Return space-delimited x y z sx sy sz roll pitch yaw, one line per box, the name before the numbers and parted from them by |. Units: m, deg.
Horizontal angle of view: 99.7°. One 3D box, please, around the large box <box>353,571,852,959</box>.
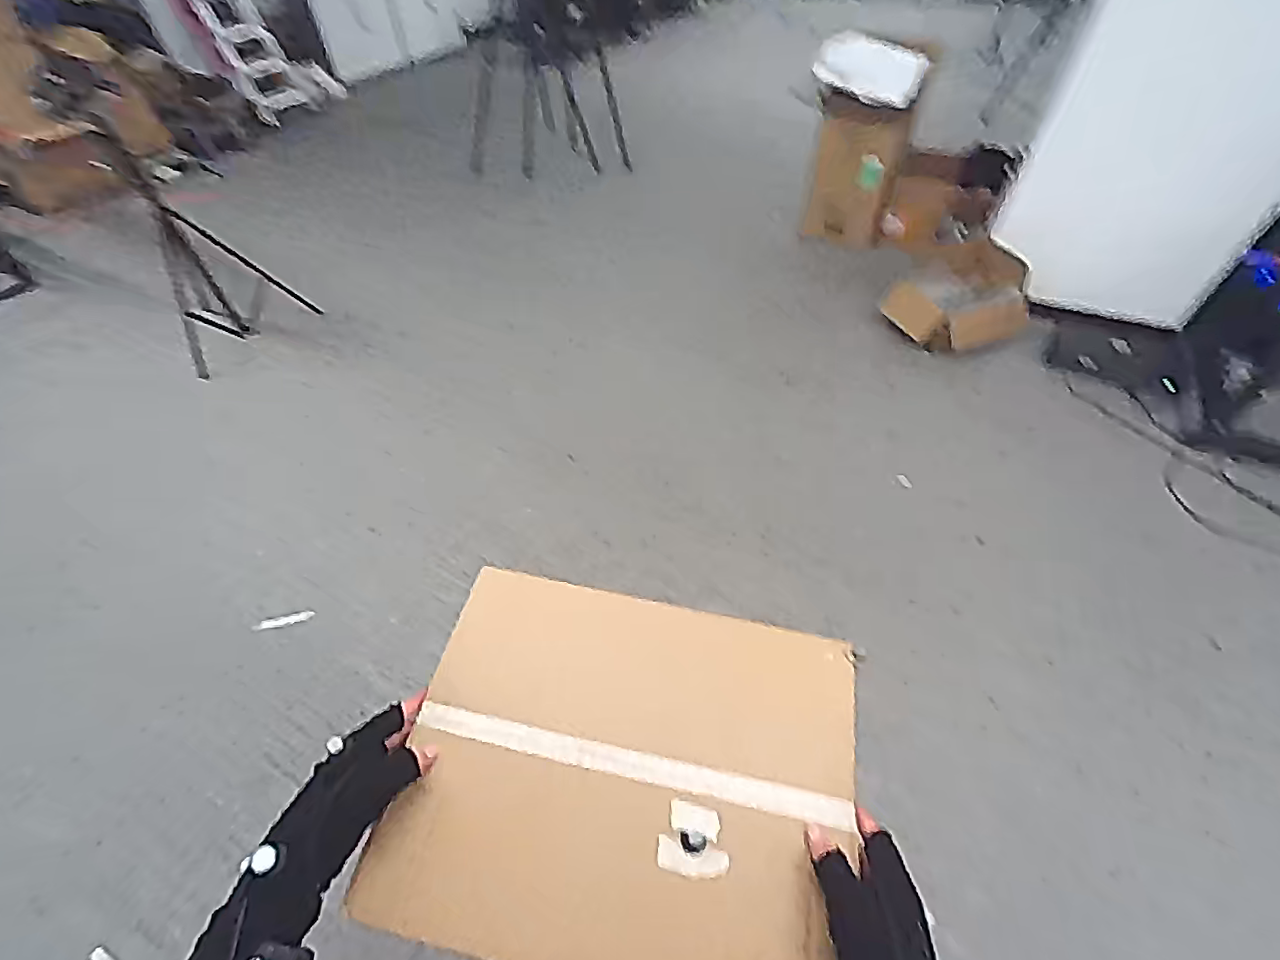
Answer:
large box | -0.014 0.341 0.618 0.408 0.320 0.320 11 56 6
